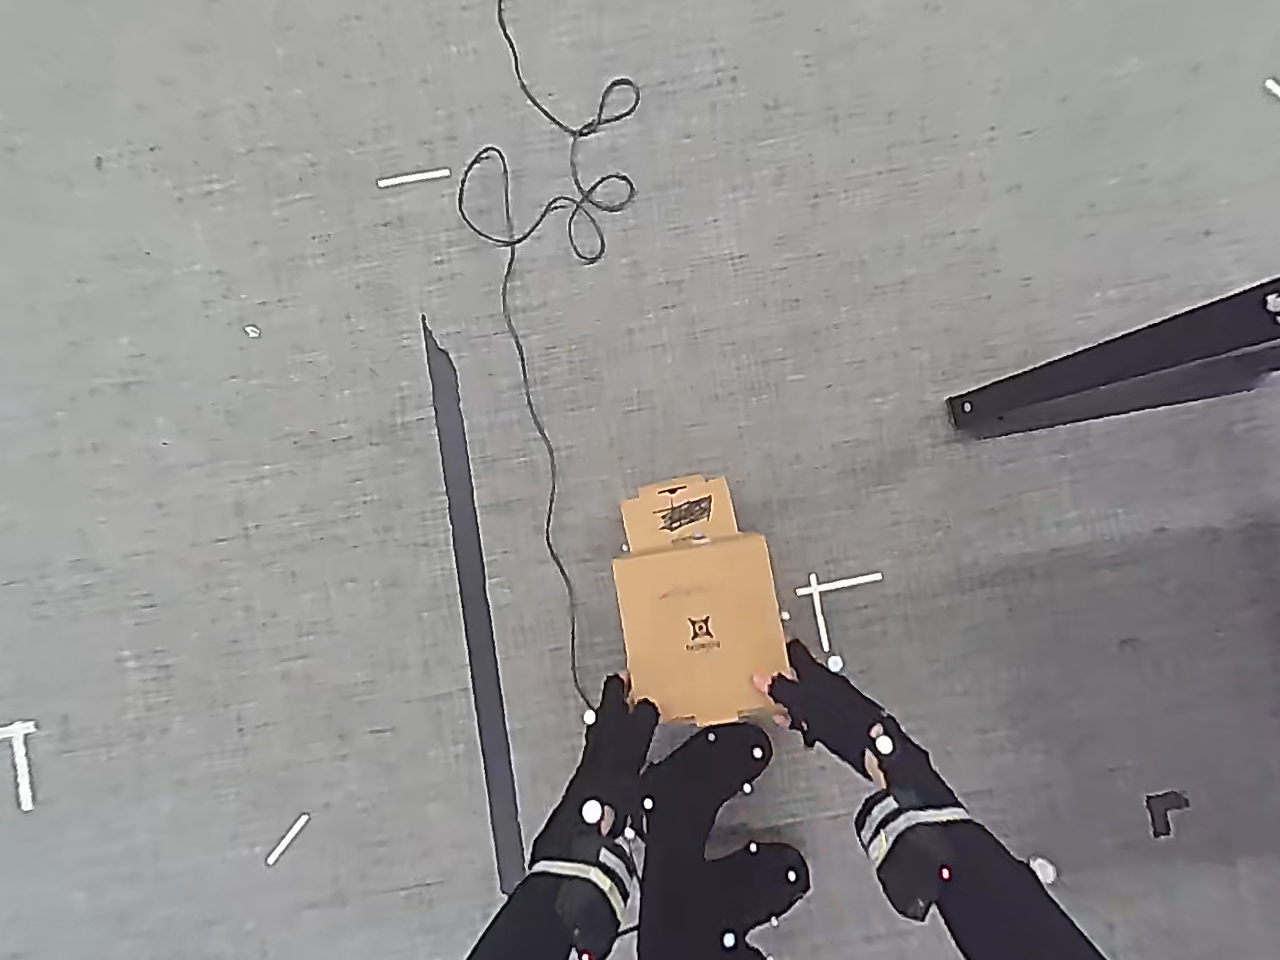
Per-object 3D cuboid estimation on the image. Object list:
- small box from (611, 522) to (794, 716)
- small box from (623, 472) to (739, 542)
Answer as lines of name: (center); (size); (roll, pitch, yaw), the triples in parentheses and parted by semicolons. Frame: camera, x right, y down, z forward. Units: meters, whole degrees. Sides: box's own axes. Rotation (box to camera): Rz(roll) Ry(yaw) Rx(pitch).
small box: (0.072, 0.149, 0.635); (0.168, 0.176, 0.179); (-11, 85, 5)
small box: (0.070, 0.094, 0.877); (0.168, 0.176, 0.179); (-12, 87, 1)
